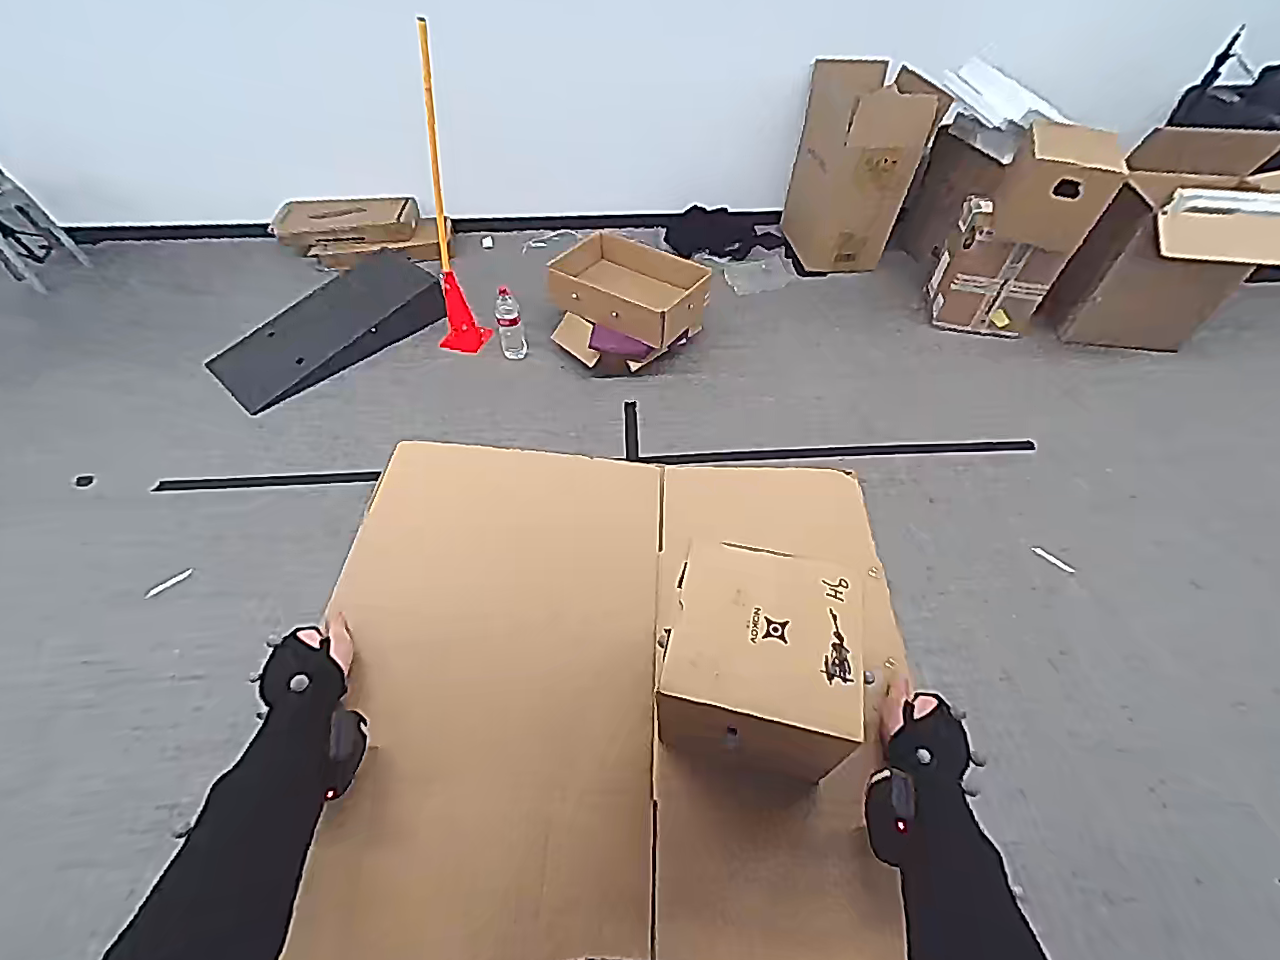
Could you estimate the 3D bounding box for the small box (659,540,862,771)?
[{"bbox_3d":[0.124,0.189,0.573,0.179,0.176,0.168,9,53,11],"label":"small box"}]
